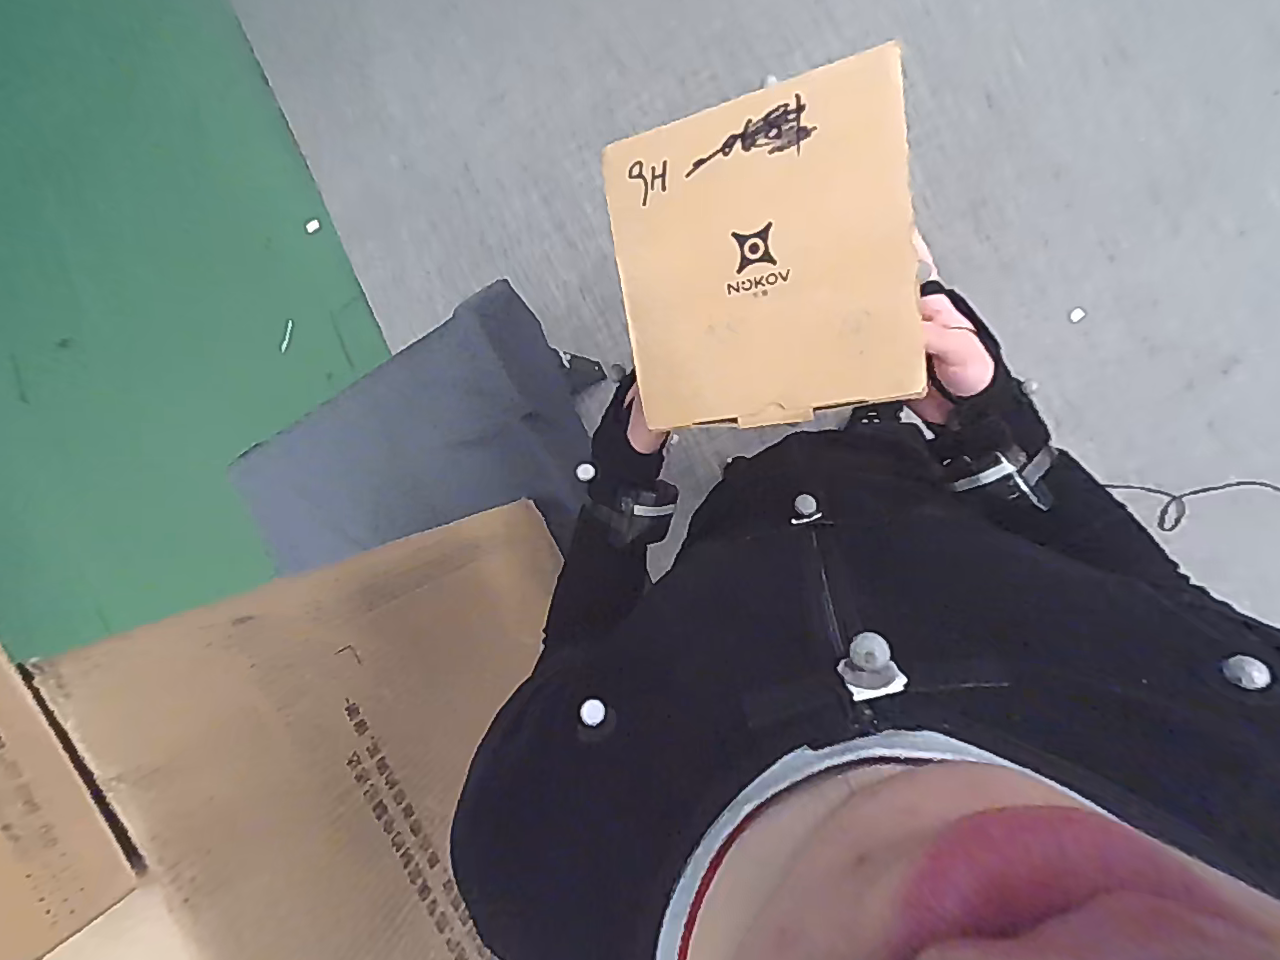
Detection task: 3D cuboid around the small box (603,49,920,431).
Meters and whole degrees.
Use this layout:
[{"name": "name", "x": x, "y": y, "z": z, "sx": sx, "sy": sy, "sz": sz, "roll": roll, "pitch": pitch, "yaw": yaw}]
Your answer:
[{"name": "small box", "x": 0.095, "y": -0.142, "z": 0.384, "sx": 0.168, "sy": 0.176, "sz": 0.179, "roll": -6, "pitch": 101, "yaw": 22}]

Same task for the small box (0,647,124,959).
[{"name": "small box", "x": -0.386, "y": 0.202, "z": 0.234, "sx": 0.179, "sy": 0.176, "sz": 0.168, "roll": -36, "pitch": 85, "yaw": 15}]
